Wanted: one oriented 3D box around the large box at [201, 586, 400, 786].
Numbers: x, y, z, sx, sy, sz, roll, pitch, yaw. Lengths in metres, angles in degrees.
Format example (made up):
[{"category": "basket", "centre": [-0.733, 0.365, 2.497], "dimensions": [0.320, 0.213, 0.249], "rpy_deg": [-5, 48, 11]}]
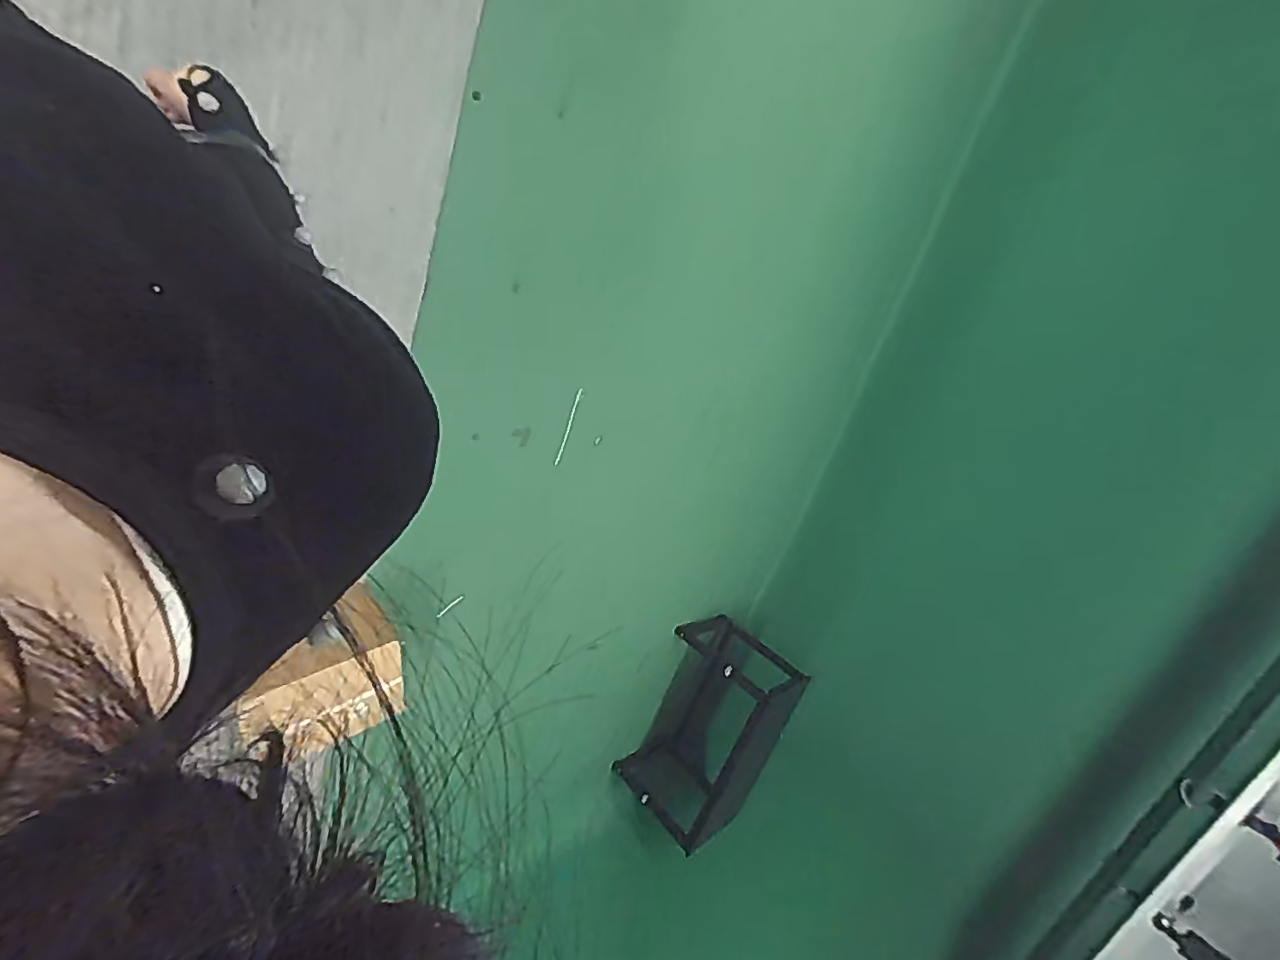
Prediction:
[{"category": "large box", "centre": [-0.977, 0.575, 1.585], "dimensions": [0.408, 0.320, 0.320], "rpy_deg": [-18, 129, -43]}]
